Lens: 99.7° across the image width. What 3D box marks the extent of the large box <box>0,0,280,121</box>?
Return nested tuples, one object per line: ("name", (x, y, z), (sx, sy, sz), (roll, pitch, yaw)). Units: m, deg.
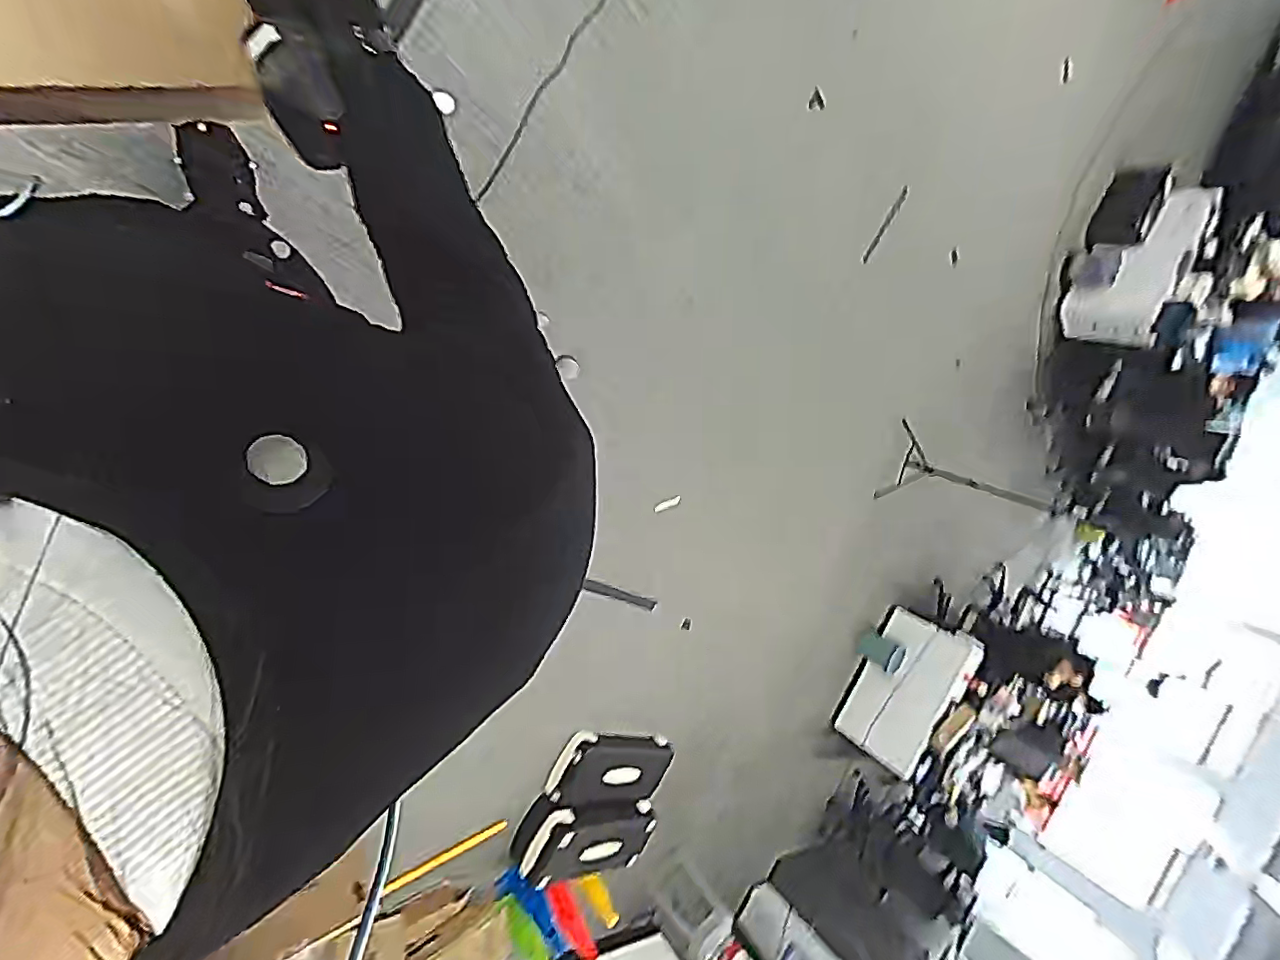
("large box", (-0.506, -0.402, 0.314), (0.408, 0.320, 0.320), (-23, 128, -27))
